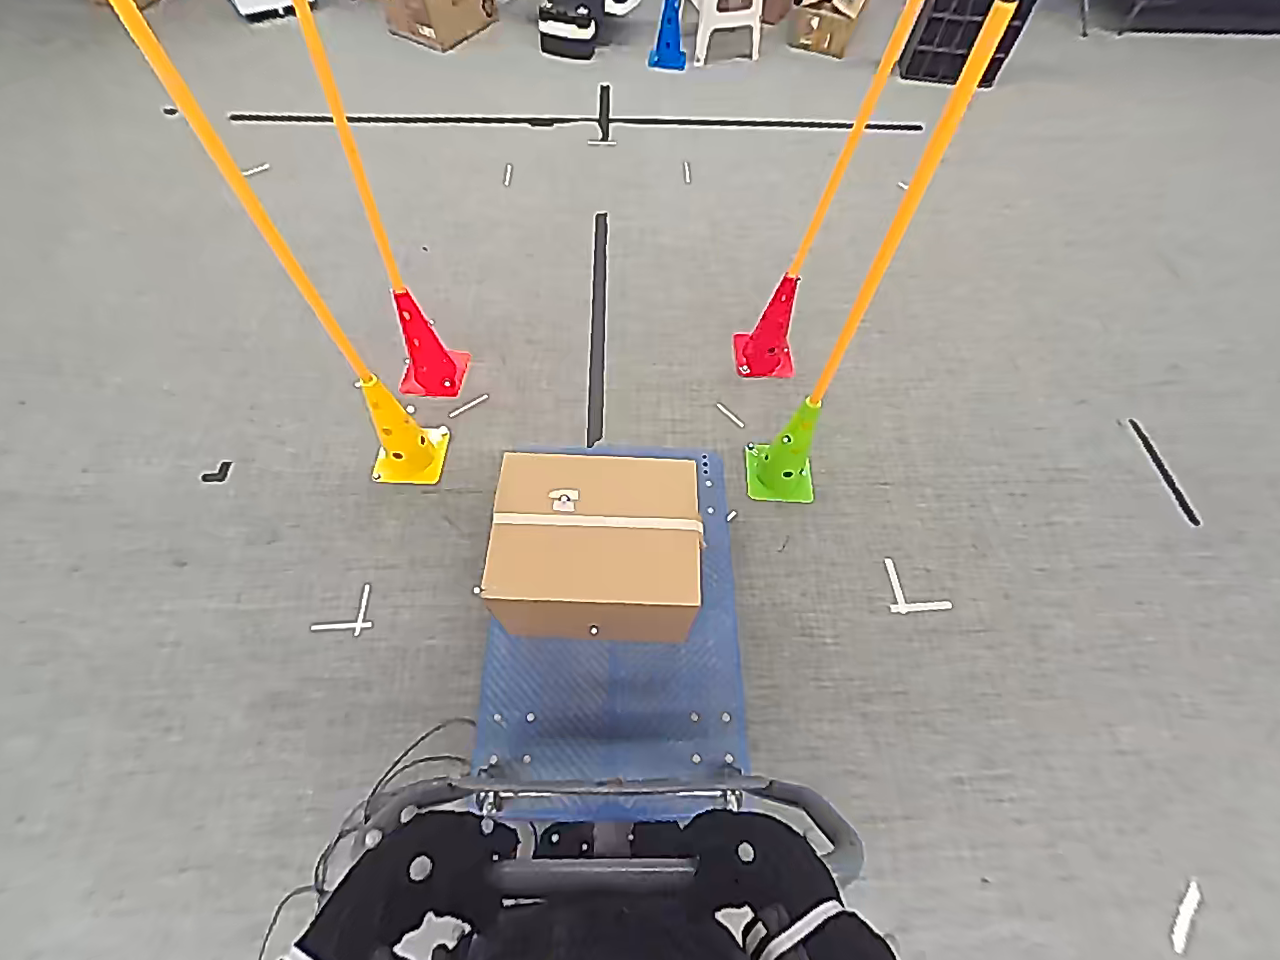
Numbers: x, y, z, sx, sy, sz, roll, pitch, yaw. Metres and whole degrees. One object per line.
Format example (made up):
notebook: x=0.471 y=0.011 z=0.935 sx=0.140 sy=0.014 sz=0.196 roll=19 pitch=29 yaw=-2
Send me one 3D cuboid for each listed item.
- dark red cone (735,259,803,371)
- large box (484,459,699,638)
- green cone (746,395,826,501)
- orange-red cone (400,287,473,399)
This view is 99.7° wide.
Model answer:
dark red cone: x=0.451 y=-0.543 z=1.762 sx=0.201 sy=0.394 sz=0.202 roll=0 pitch=61 yaw=-4
large box: x=-0.088 y=0.164 z=1.196 sx=0.408 sy=0.320 sz=0.320 roll=2 pitch=61 yaw=0
green cone: x=0.442 y=-0.112 z=1.538 sx=0.202 sy=0.368 sz=0.200 roll=4 pitch=60 yaw=-2
orange-red cone: x=-0.677 y=-0.448 z=1.690 sx=0.198 sy=0.360 sz=0.199 roll=7 pitch=59 yaw=1
